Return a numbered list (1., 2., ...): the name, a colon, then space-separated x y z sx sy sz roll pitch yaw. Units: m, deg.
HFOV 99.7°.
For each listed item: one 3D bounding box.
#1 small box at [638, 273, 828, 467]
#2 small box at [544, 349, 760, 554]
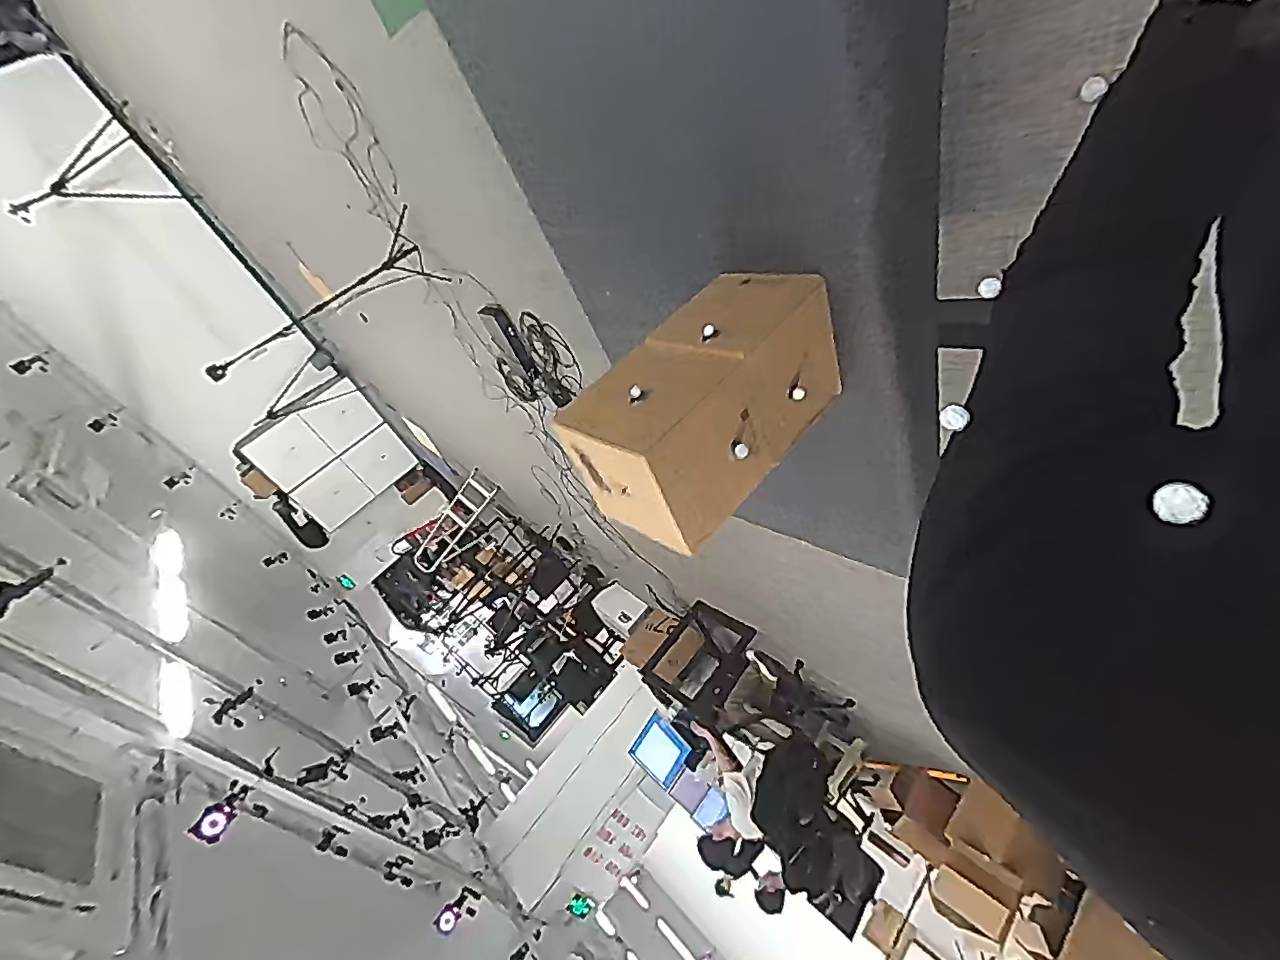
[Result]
1. small box: 0.133 -0.152 0.727 0.168 0.176 0.179 23 149 44
2. small box: 0.020 -0.045 0.673 0.179 0.176 0.168 23 149 44
